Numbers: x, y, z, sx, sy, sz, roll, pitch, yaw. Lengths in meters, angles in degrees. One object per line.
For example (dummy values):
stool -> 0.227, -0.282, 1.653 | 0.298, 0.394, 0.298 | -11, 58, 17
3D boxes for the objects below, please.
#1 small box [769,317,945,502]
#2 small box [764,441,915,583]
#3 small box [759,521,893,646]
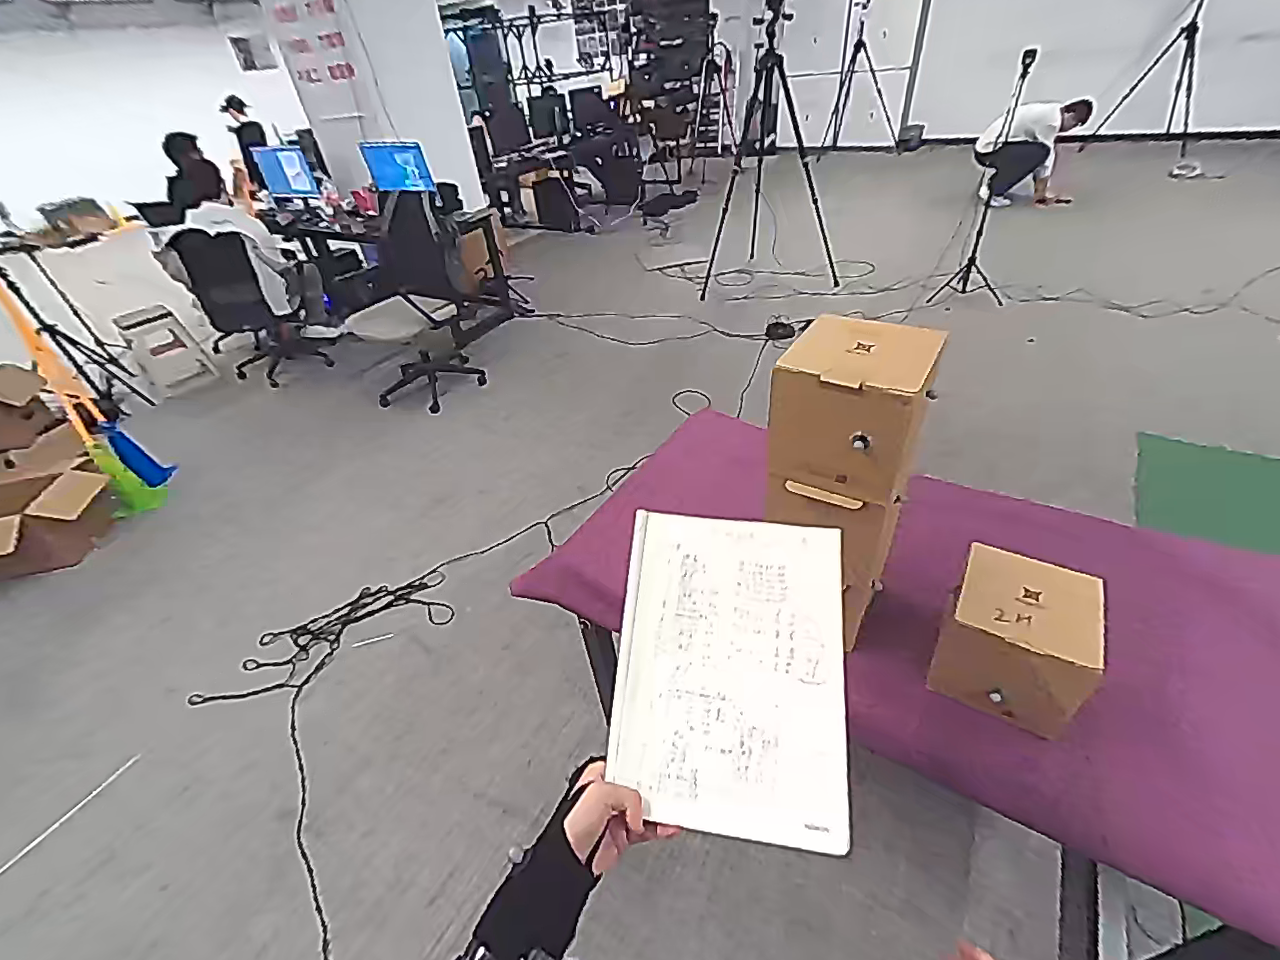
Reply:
small box -> 0.282, -0.097, 0.725 | 0.168, 0.176, 0.179 | 20, 45, 28
small box -> 0.299, 0.027, 0.830 | 0.168, 0.176, 0.179 | 19, 44, 28
small box -> 0.316, 0.152, 0.936 | 0.168, 0.176, 0.179 | 19, 46, 28
